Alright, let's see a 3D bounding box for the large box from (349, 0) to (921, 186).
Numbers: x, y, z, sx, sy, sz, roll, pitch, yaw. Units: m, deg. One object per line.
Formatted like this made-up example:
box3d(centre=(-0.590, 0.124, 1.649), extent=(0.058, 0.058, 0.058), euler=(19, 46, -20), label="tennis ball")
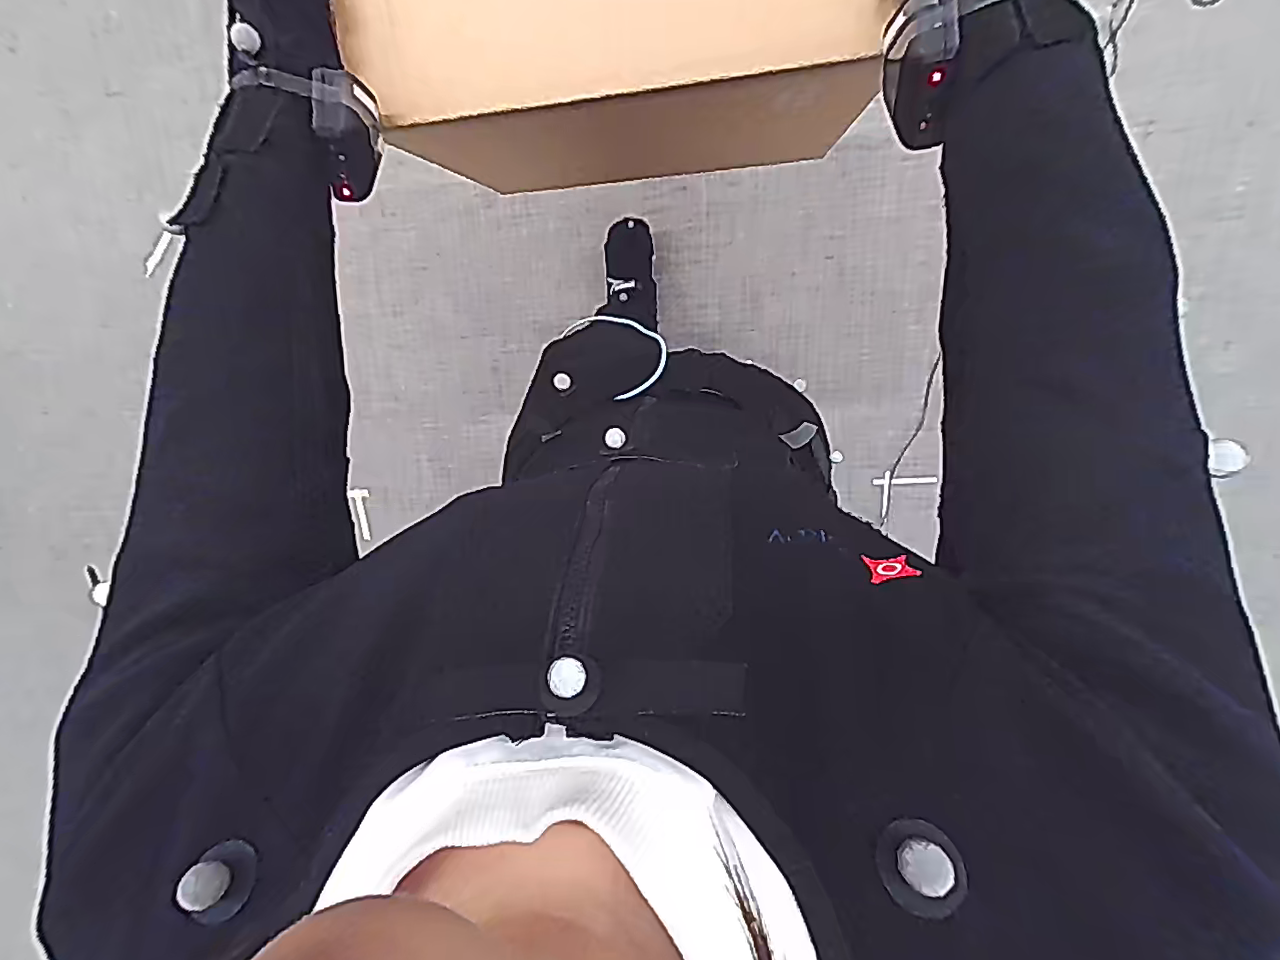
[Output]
box3d(centre=(-0.008, -0.483, 0.481), extent=(0.408, 0.320, 0.320), euler=(-3, 110, 8), label="large box")
